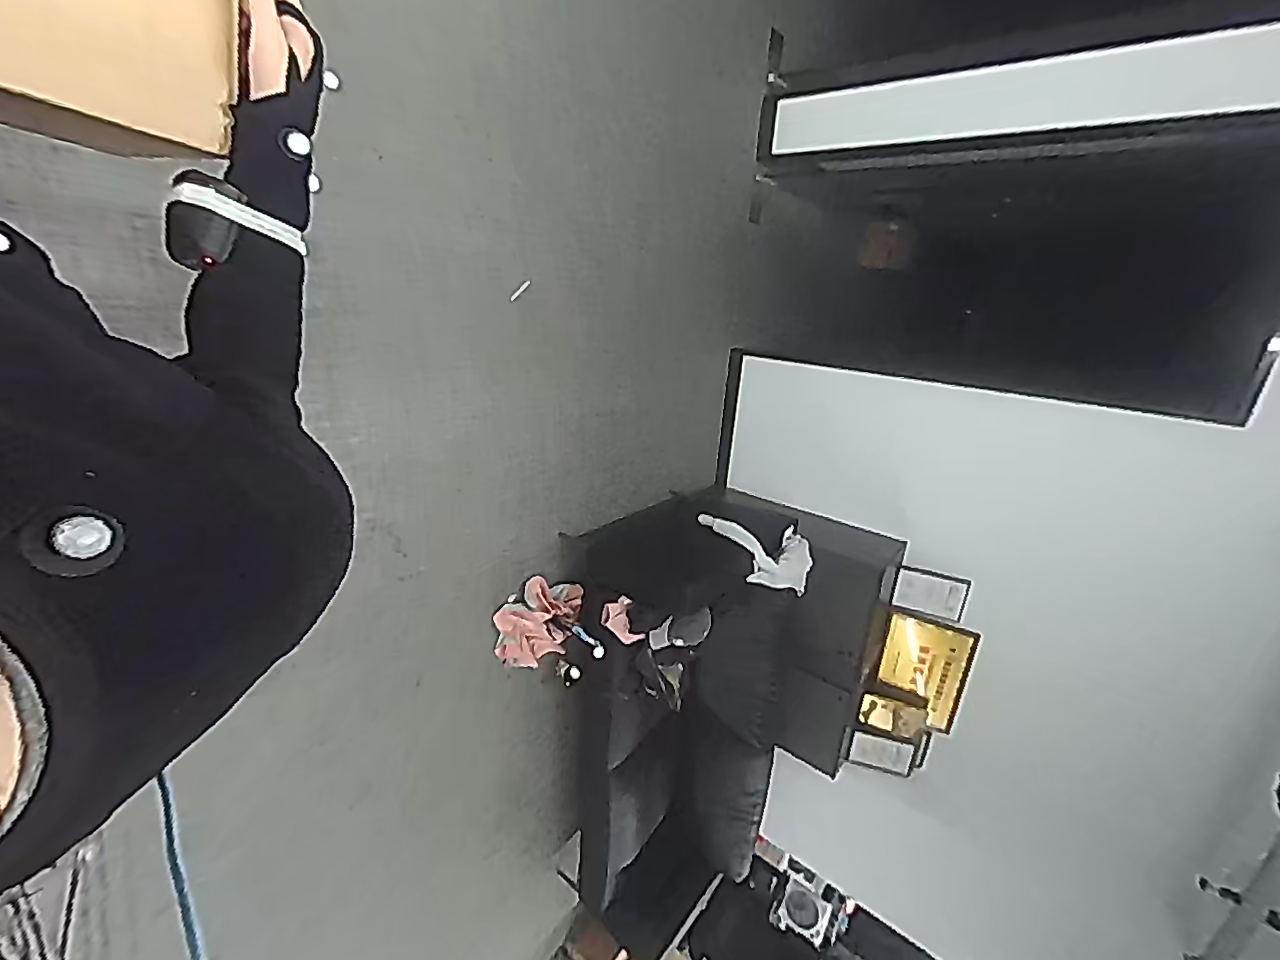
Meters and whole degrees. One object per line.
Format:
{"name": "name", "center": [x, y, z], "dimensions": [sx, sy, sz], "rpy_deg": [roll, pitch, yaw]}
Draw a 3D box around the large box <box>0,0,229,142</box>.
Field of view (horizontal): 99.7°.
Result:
{"name": "large box", "center": [-0.538, -0.436, 0.317], "dimensions": [0.408, 0.320, 0.320], "rpy_deg": [-11, 117, -53]}
